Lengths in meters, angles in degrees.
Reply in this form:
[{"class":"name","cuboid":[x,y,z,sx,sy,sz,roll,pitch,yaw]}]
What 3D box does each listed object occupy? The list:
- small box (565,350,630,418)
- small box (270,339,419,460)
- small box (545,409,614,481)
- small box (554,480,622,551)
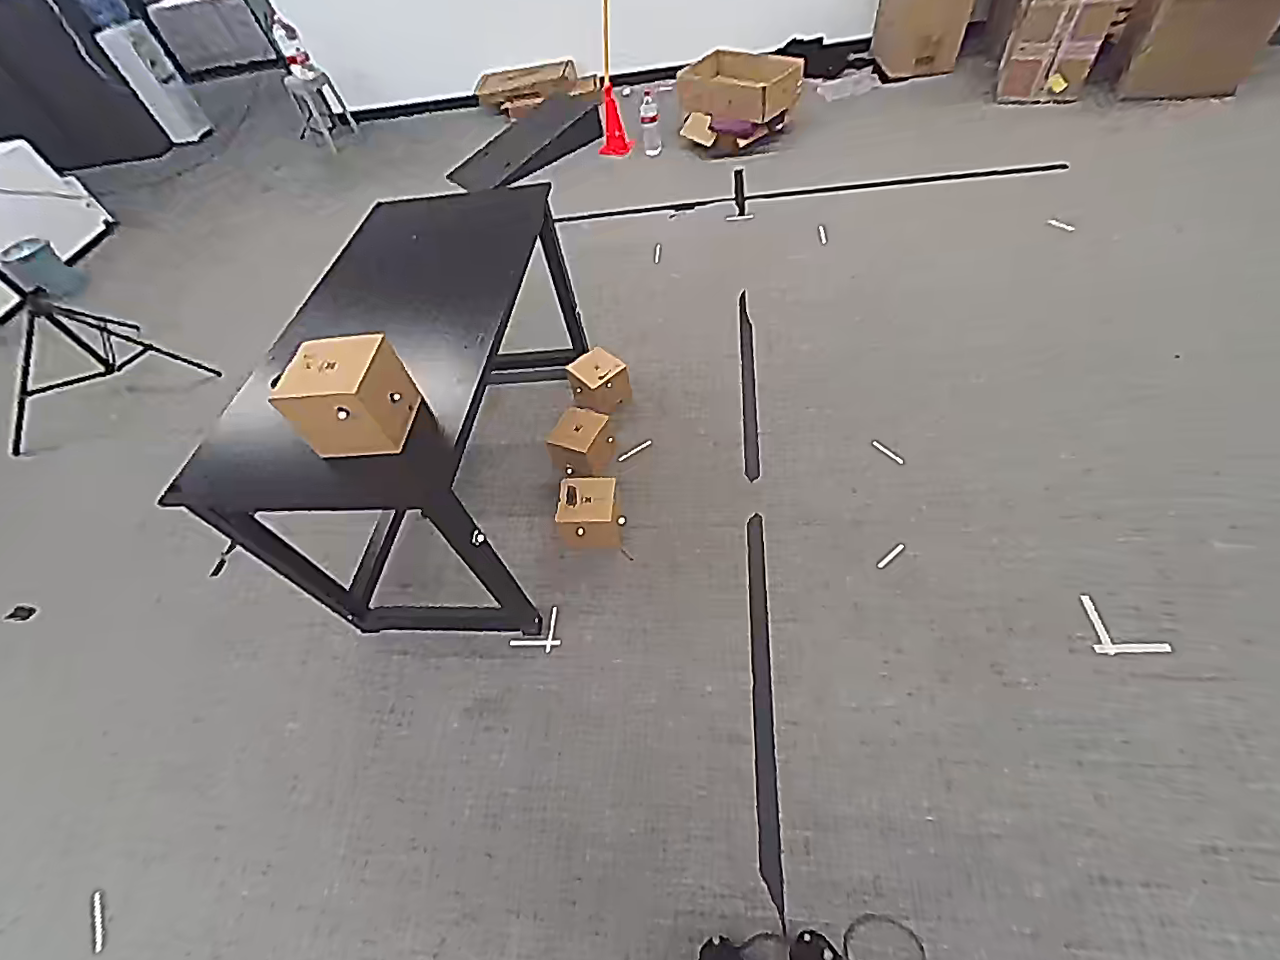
[{"class":"small box","cuboid":[-0.160,-0.363,2.081,0.168,0.176,0.179,-39,57,-19]},{"class":"small box","cuboid":[-0.572,-0.155,1.076,0.179,0.176,0.168,-4,52,8]},{"class":"small box","cuboid":[-0.204,-0.118,1.908,0.168,0.176,0.179,16,59,21]},{"class":"small box","cuboid":[-0.160,0.116,1.723,0.179,0.176,0.168,-1,53,7]}]
